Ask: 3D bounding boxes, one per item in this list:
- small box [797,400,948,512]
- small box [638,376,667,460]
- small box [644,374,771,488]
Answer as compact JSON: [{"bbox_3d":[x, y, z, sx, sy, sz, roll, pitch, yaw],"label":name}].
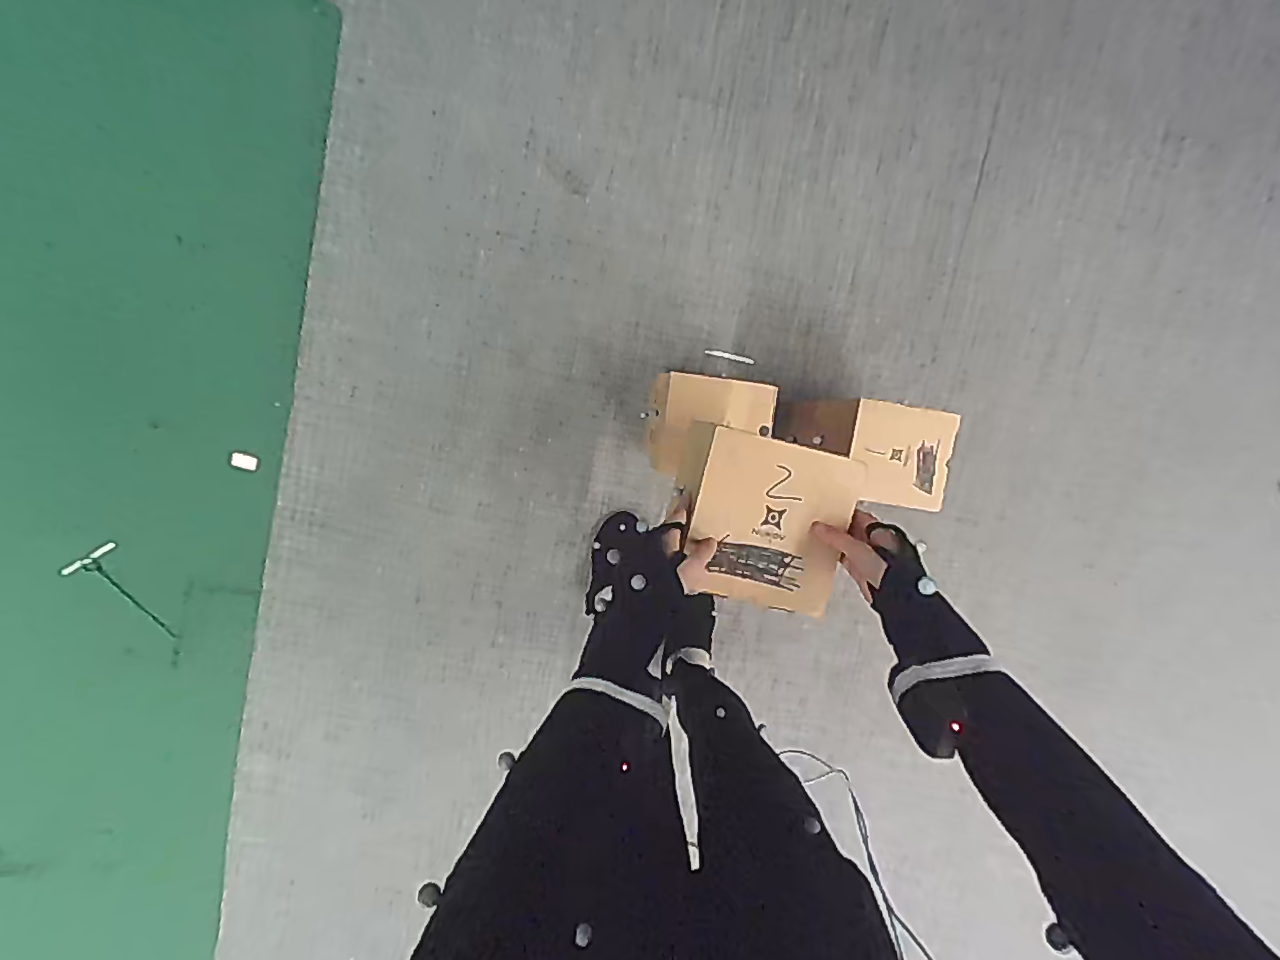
[{"bbox_3d":[0.408,-0.048,0.977,0.179,0.176,0.168,9,95,-4],"label":"small box"},{"bbox_3d":[0.096,-0.116,1.112,0.179,0.176,0.168,7,96,-4],"label":"small box"},{"bbox_3d":[0.110,-0.086,0.951,0.179,0.176,0.168,8,95,-4],"label":"small box"}]
